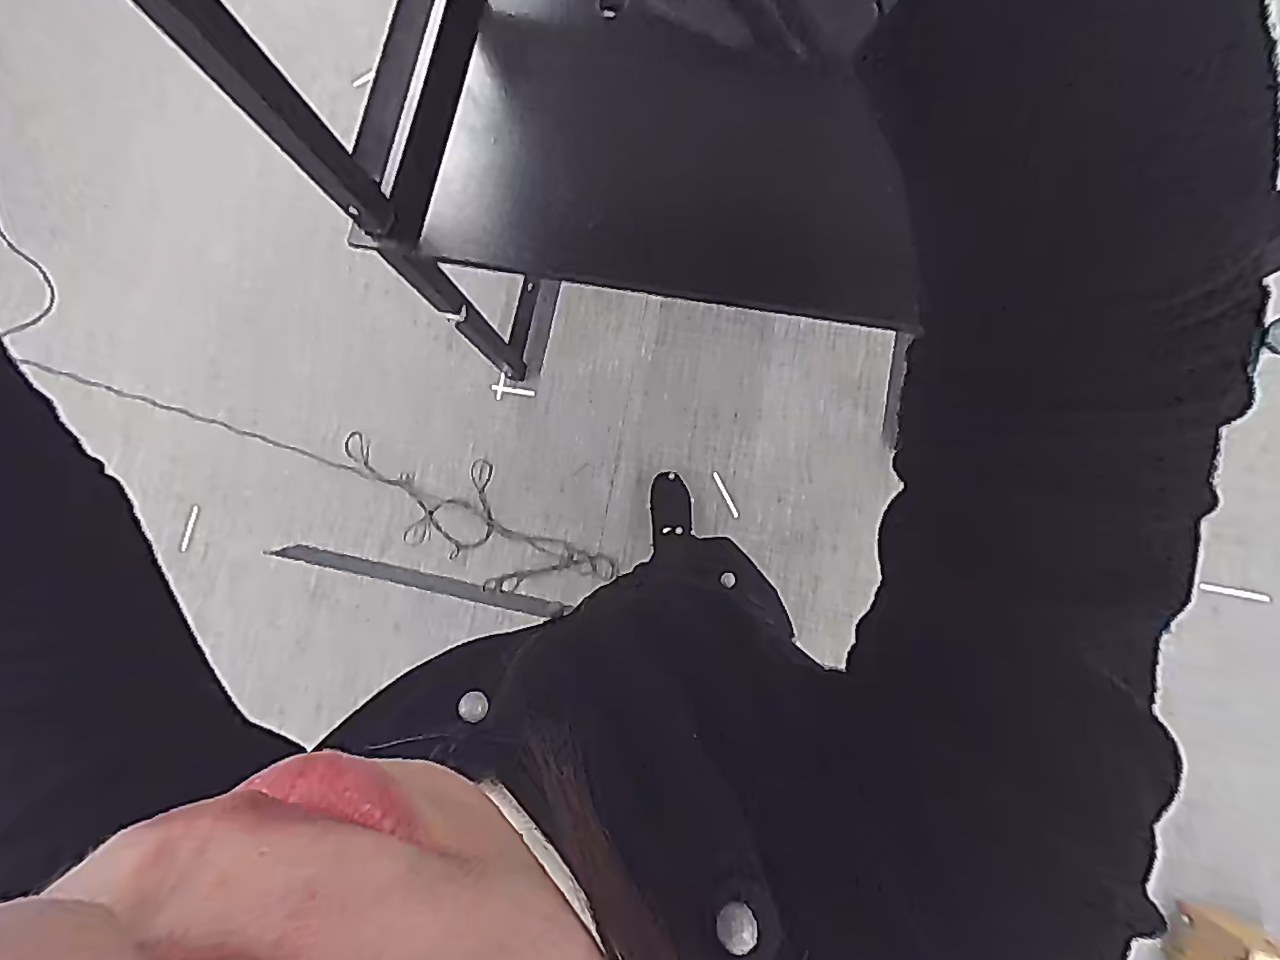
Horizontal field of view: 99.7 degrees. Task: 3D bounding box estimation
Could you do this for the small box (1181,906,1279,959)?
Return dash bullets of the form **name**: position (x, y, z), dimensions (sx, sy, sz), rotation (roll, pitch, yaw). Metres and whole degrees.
- **small box**: position (1.318, 1.060, 1.148), dimensions (0.179, 0.176, 0.168), rotation (16, 84, 7)
